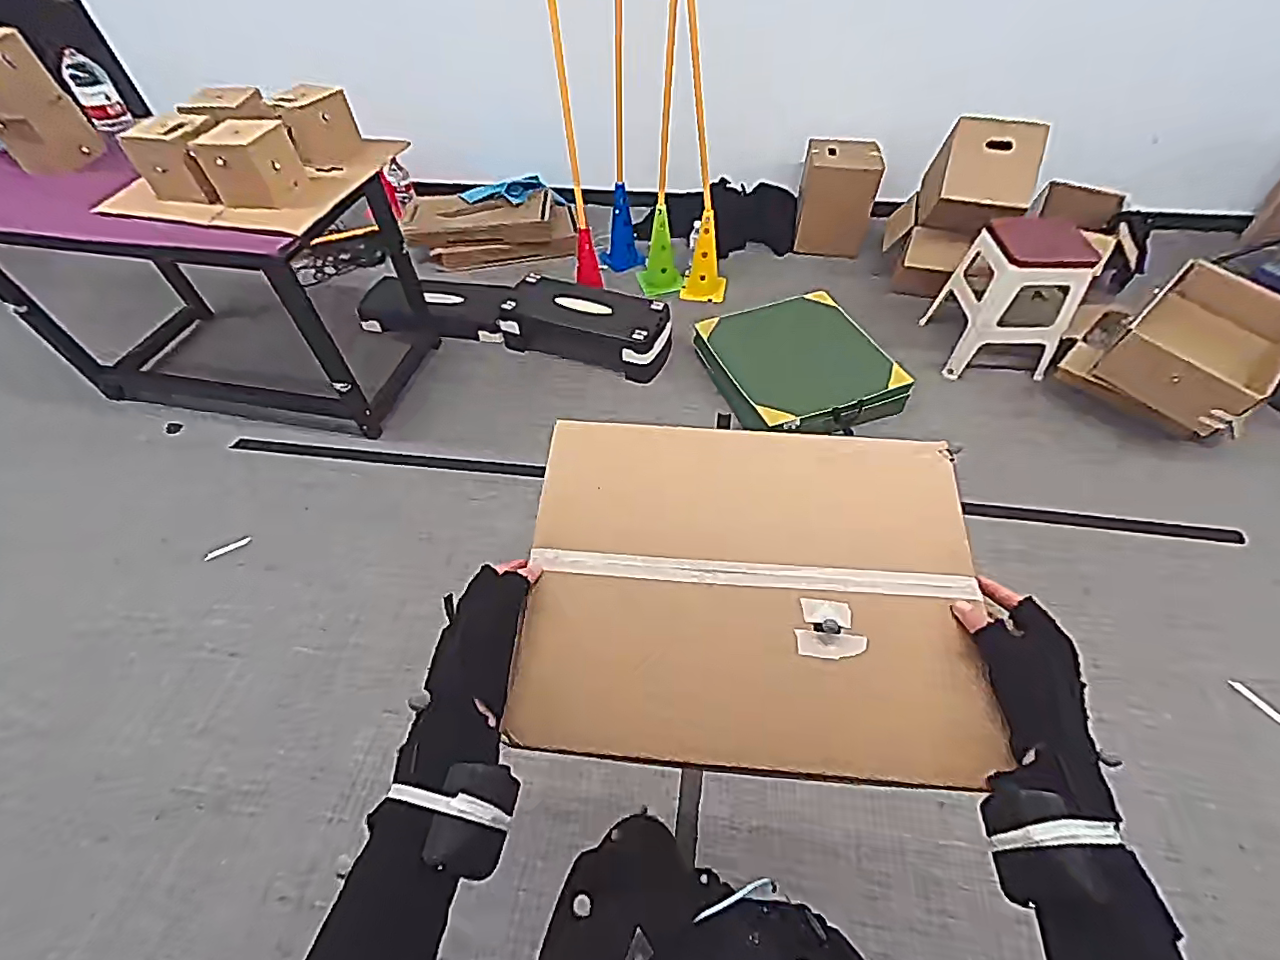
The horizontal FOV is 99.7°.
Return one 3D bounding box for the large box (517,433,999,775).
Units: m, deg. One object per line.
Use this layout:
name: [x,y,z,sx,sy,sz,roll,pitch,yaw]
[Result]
large box: [0.104,0.161,0.643,0.408,0.320,0.320,3,63,4]
